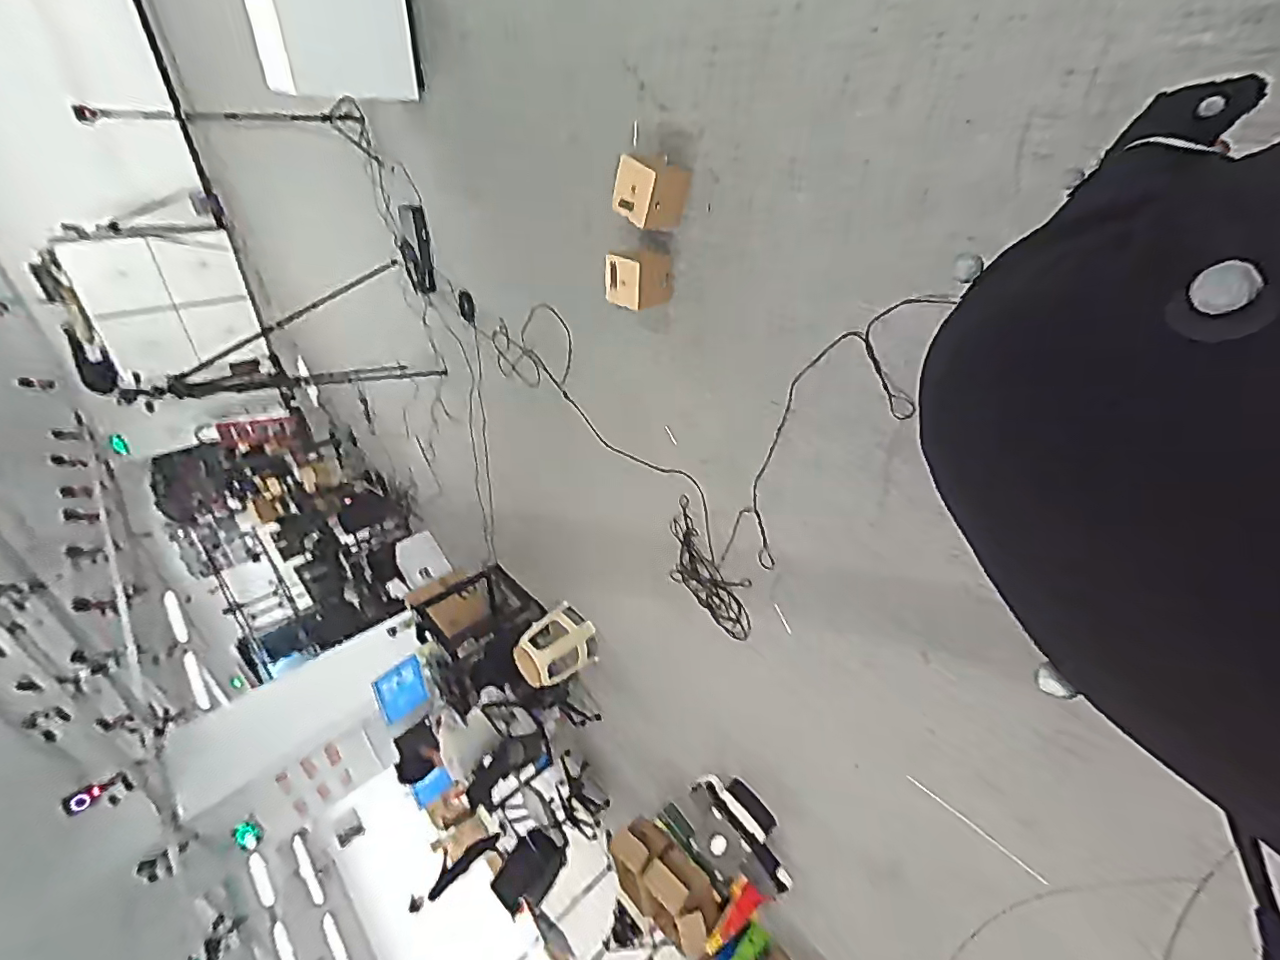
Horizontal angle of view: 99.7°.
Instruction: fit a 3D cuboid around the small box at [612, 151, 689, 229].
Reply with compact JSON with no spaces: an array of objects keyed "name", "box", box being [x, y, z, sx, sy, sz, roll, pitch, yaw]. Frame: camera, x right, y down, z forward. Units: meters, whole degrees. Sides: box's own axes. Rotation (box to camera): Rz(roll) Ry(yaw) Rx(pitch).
[{"name":"small box","box":[0.037,-0.953,1.774,0.168,0.176,0.179,44,139,24]}]
